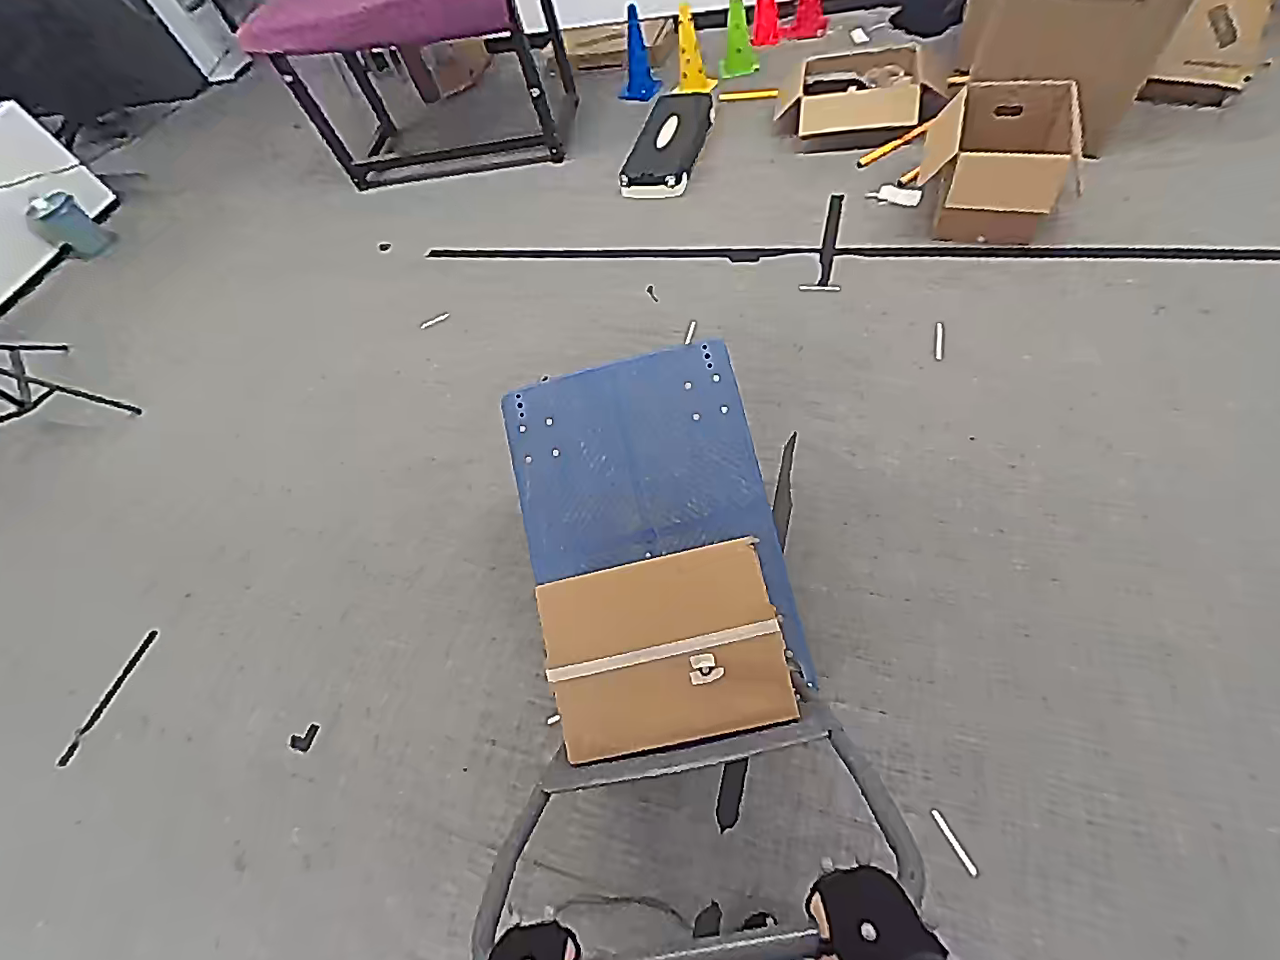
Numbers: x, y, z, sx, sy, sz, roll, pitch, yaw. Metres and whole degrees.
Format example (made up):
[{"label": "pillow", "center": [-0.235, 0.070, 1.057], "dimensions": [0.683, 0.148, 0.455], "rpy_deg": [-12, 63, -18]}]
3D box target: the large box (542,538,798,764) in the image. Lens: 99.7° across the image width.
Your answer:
[{"label": "large box", "center": [0.057, 0.325, 1.106], "dimensions": [0.408, 0.320, 0.320], "rpy_deg": [-14, 81, 3]}]
